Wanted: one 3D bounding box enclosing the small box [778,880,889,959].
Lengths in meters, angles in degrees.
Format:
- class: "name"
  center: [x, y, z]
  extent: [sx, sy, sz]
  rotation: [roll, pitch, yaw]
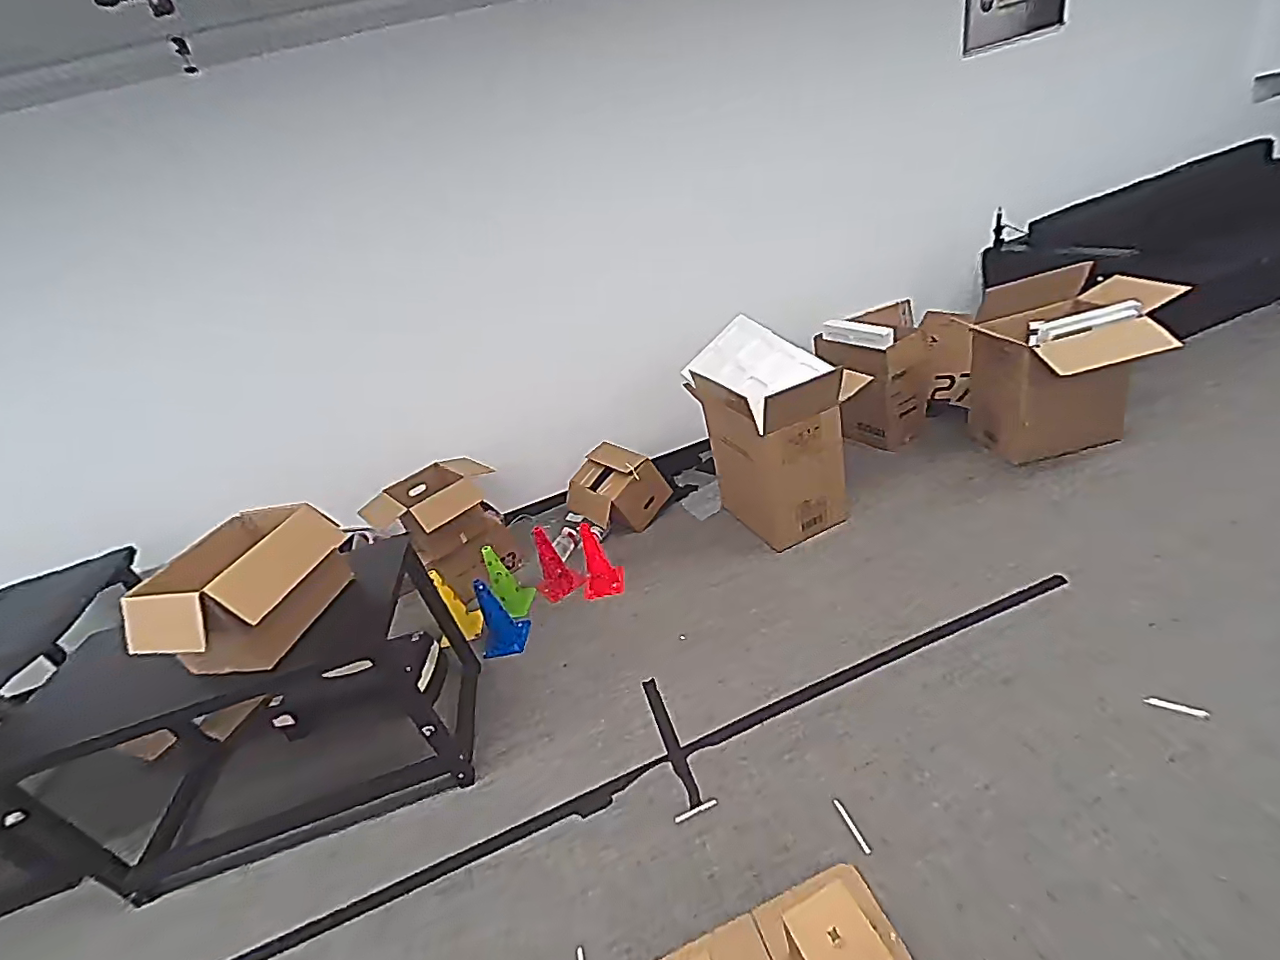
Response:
- class: "small box"
  center: [0.434, 1.063, 1.212]
  extent: [0.168, 0.176, 0.179]
  rotation: [-23, 29, -12]
